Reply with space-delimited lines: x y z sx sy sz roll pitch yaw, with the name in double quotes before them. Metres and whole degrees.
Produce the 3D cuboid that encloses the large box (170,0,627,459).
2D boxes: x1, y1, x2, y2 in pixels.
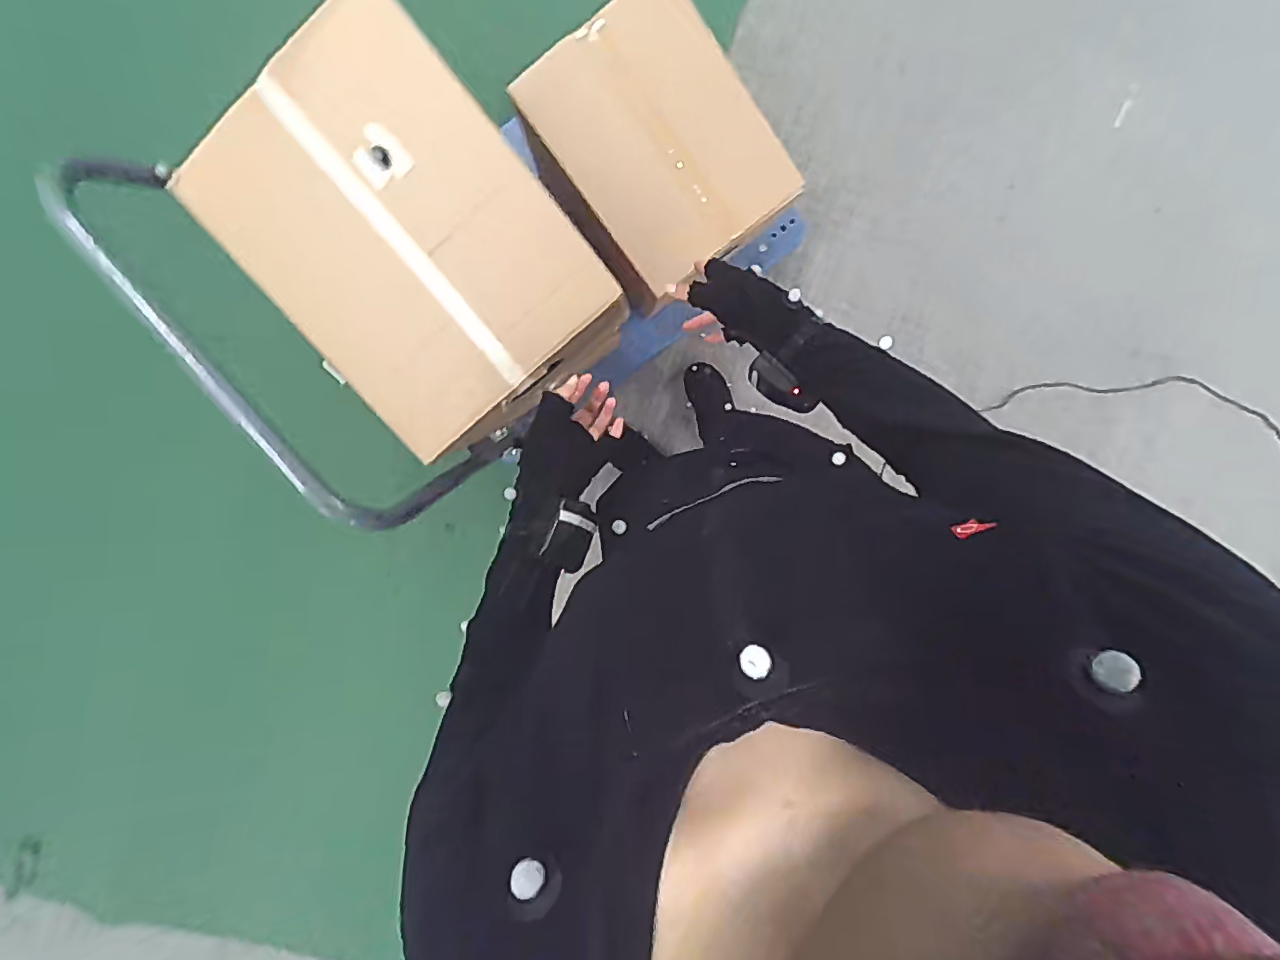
"large box" -0.265 -0.293 0.737 0.320 0.320 0.408 -39 99 8
